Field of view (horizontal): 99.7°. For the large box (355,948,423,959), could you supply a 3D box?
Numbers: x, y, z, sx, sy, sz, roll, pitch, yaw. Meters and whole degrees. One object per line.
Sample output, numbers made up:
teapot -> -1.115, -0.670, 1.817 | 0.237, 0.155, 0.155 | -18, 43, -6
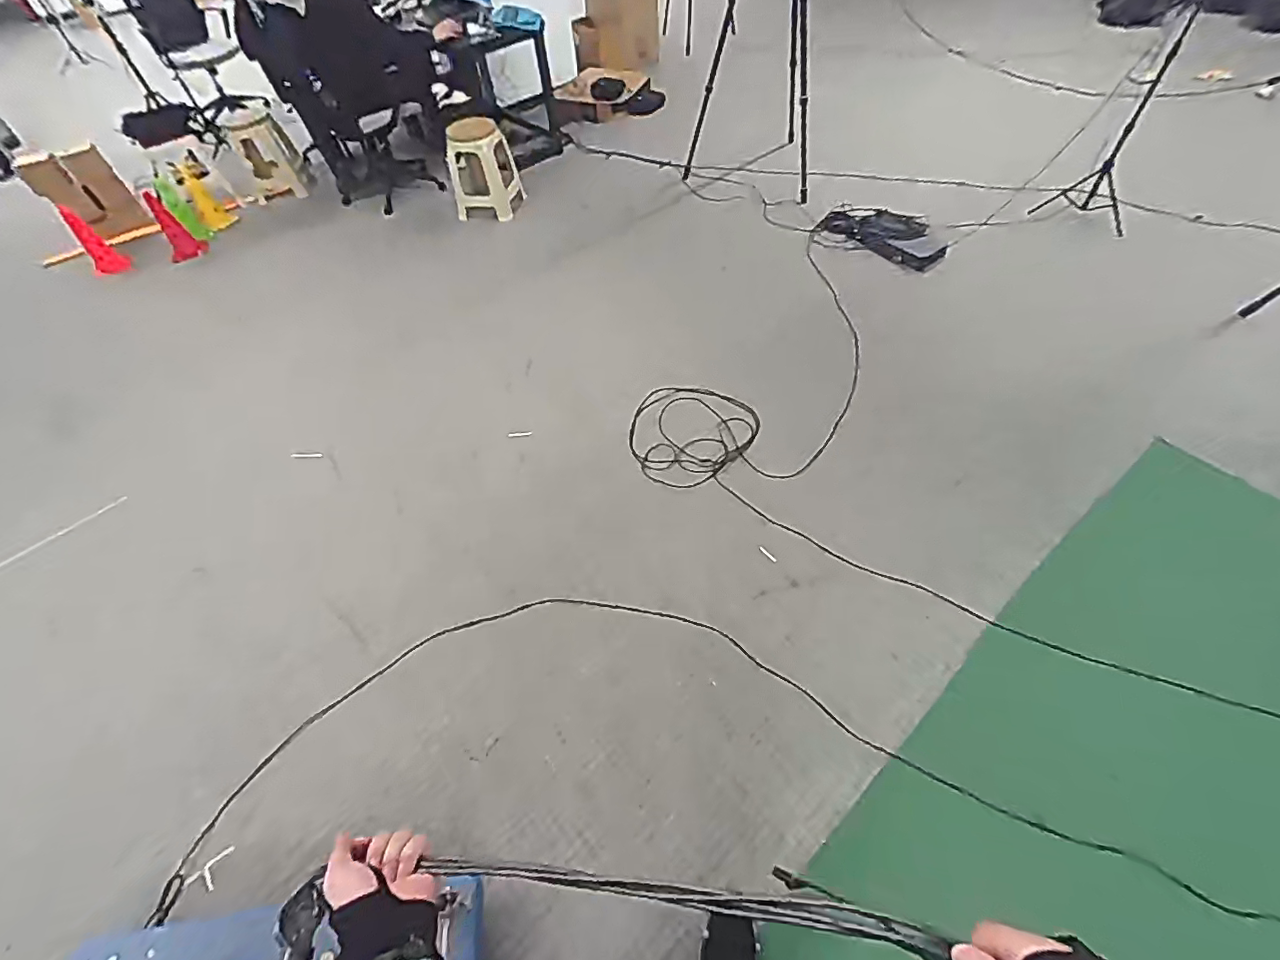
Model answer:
large box -> -0.615, 1.012, 0.879 | 0.408, 0.320, 0.320 | -10, 52, -1
